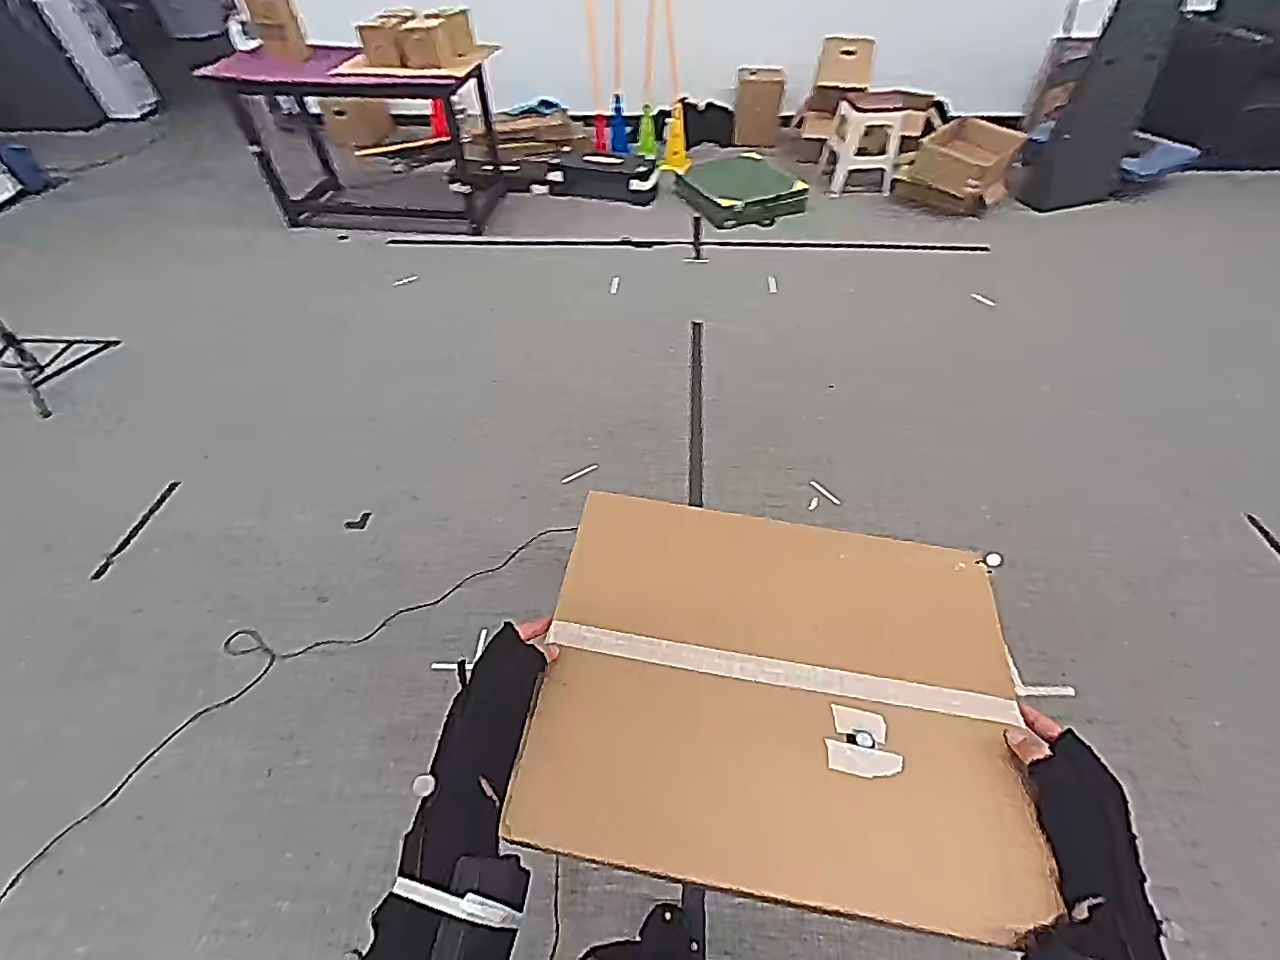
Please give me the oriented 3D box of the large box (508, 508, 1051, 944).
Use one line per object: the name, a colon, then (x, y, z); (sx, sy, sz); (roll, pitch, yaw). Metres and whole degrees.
large box: (0.110, 0.263, 0.596); (0.408, 0.320, 0.320); (9, 55, 3)
